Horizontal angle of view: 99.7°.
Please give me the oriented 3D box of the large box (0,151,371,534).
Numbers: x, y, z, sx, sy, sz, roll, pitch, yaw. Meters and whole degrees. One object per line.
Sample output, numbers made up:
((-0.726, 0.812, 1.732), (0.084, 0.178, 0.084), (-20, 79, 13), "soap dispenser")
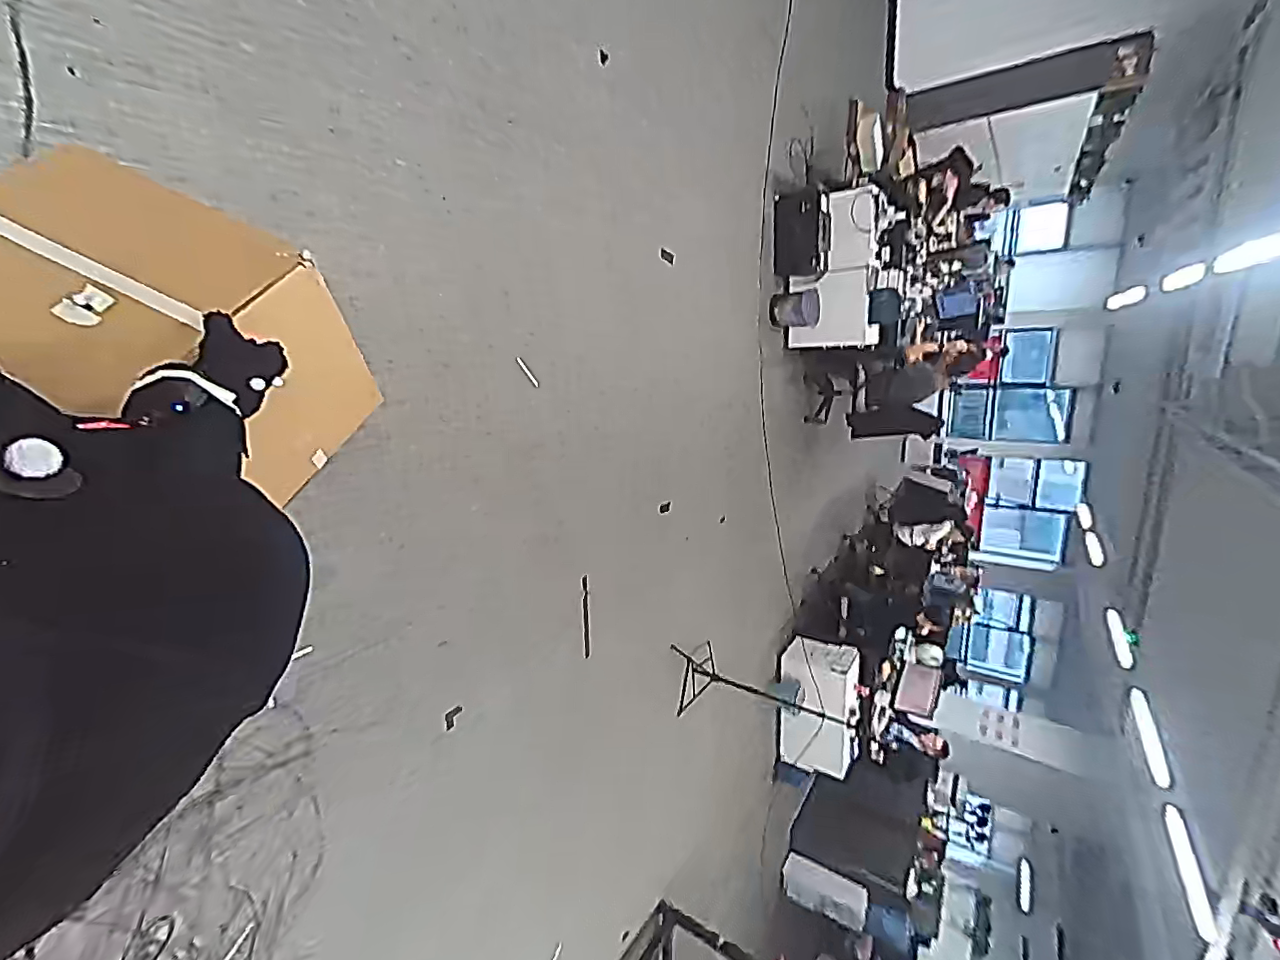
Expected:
((-0.693, -0.182, 0.780), (0.320, 0.408, 0.320), (-61, 174, -27), "large box")
